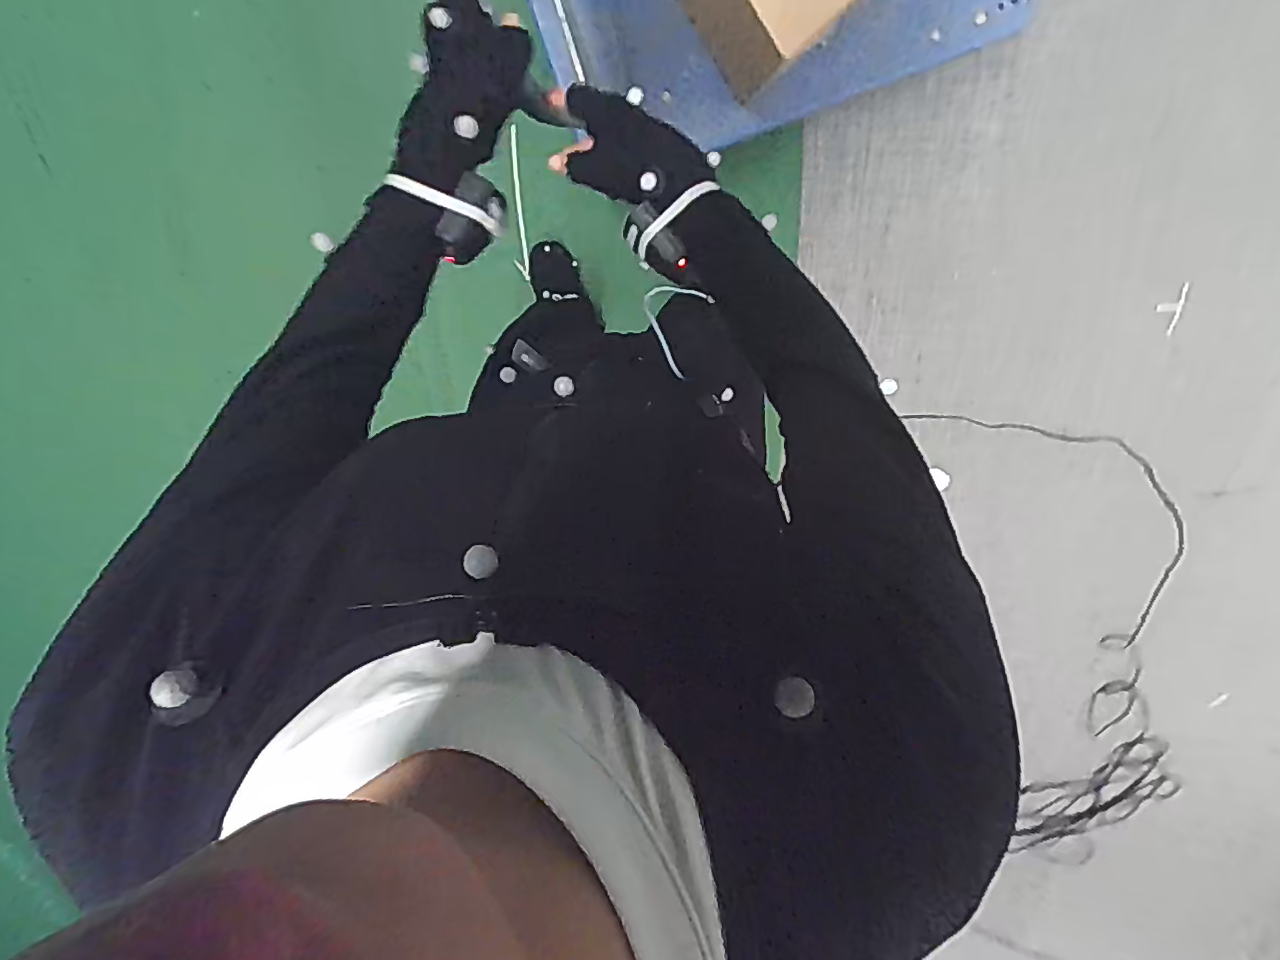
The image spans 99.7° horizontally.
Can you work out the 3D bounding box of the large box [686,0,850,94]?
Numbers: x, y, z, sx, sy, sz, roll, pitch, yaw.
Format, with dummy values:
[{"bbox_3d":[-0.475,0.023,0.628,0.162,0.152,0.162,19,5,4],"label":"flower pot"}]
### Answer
[{"bbox_3d":[0.189,-0.885,0.784,0.320,0.320,0.408,-36,110,15],"label":"large box"}]
